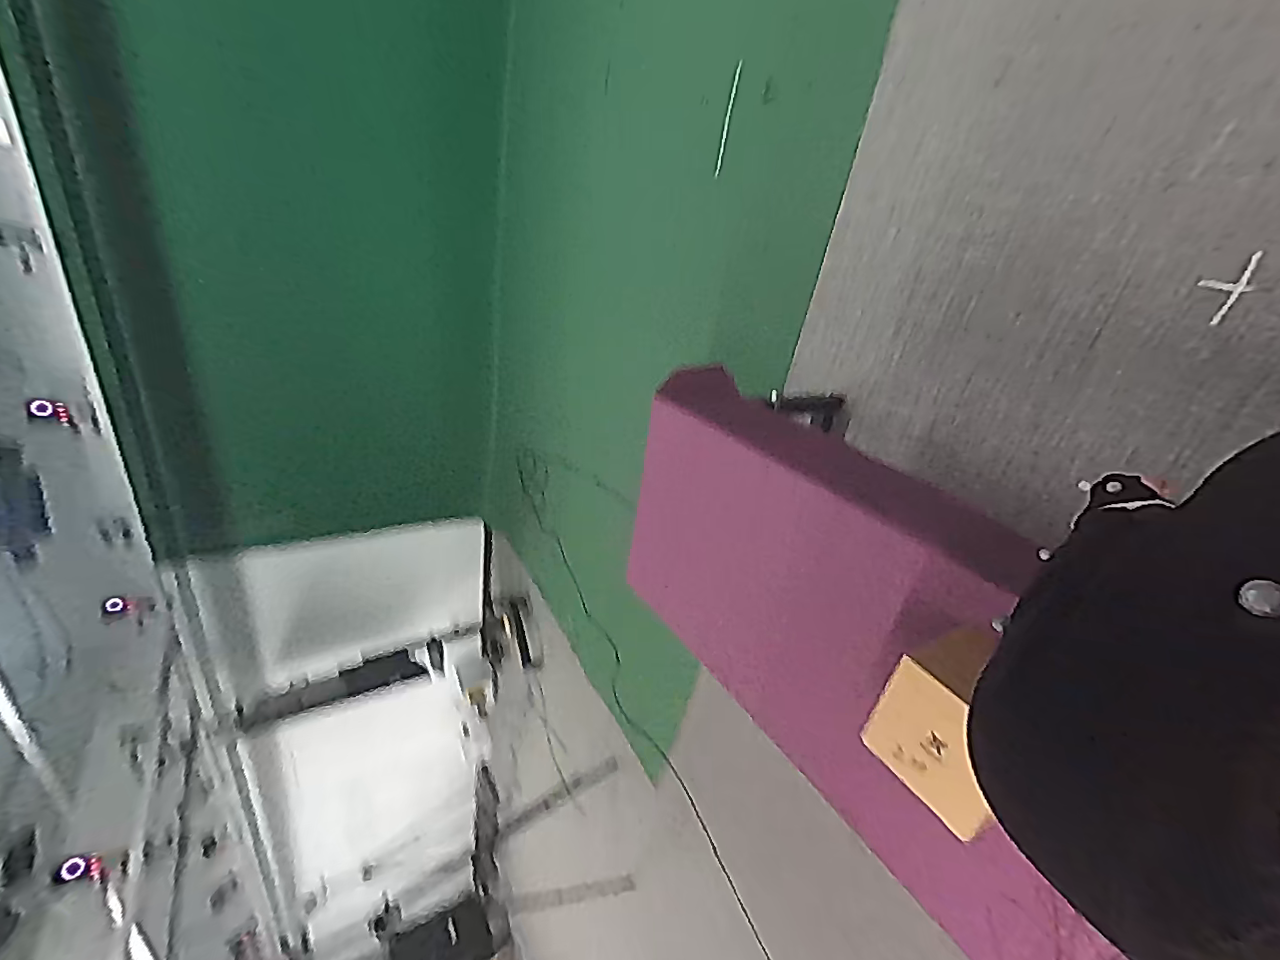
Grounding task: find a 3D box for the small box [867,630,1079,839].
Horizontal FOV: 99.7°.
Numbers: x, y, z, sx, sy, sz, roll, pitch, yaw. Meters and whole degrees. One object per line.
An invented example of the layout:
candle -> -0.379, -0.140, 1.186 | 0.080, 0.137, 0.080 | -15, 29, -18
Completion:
small box -> 0.460, 0.339, 0.752 | 0.168, 0.176, 0.179 | 43, 132, 47
